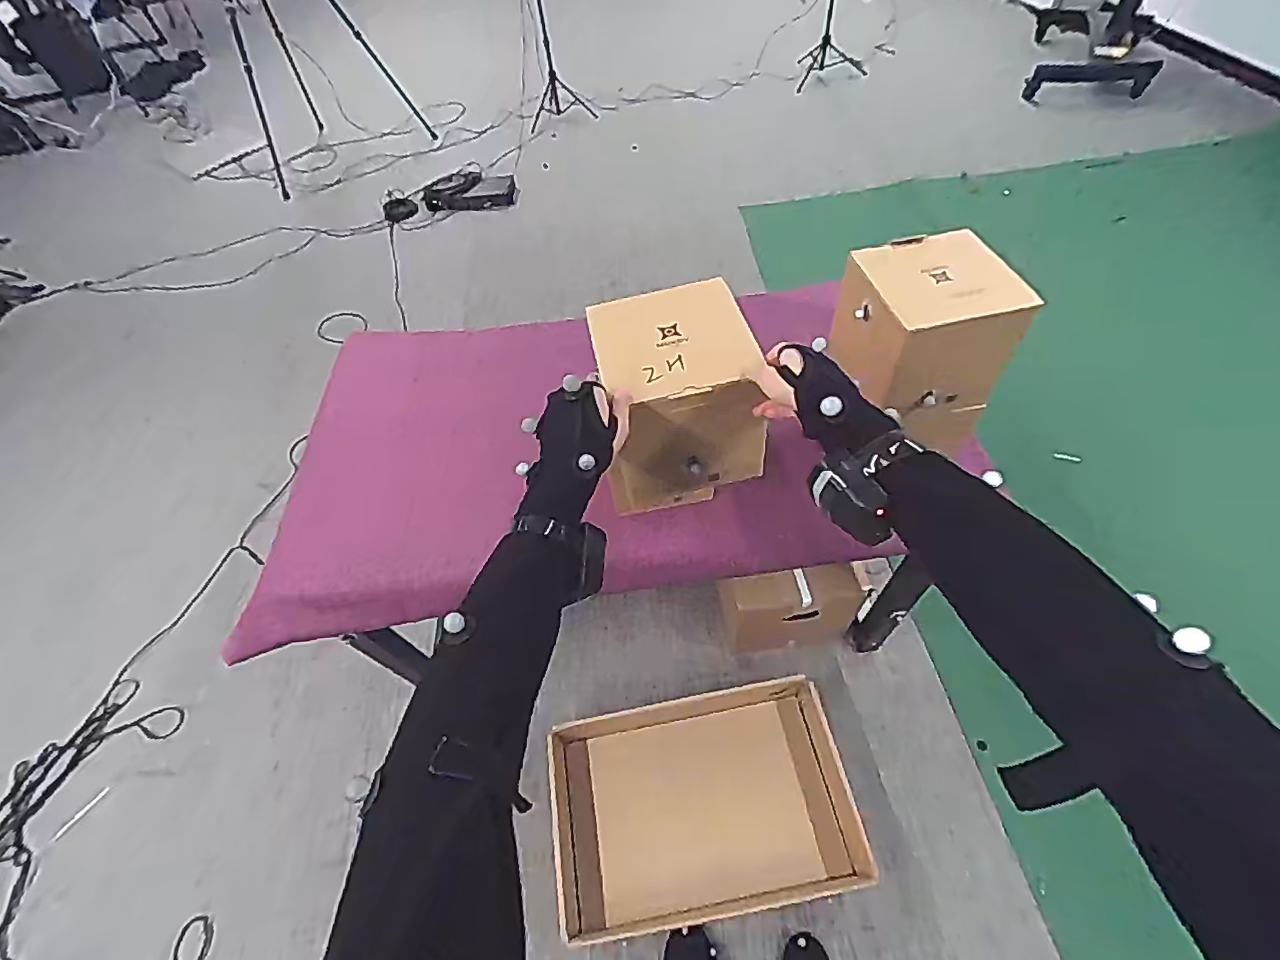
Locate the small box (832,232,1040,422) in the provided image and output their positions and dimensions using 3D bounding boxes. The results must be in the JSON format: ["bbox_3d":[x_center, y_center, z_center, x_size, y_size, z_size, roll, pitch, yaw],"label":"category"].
[{"bbox_3d":[0.381,-0.206,0.740,0.168,0.176,0.179,-11,53,0],"label":"small box"}]

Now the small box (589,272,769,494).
[{"bbox_3d":[0.043,-0.111,0.641,0.168,0.176,0.179,-13,53,0],"label":"small box"}]

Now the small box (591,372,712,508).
[{"bbox_3d":[0.022,-0.069,0.883,0.168,0.176,0.179,-11,53,-2],"label":"small box"}]

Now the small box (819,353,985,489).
[{"bbox_3d":[0.402,-0.109,0.869,0.168,0.176,0.179,-8,53,1],"label":"small box"}]
